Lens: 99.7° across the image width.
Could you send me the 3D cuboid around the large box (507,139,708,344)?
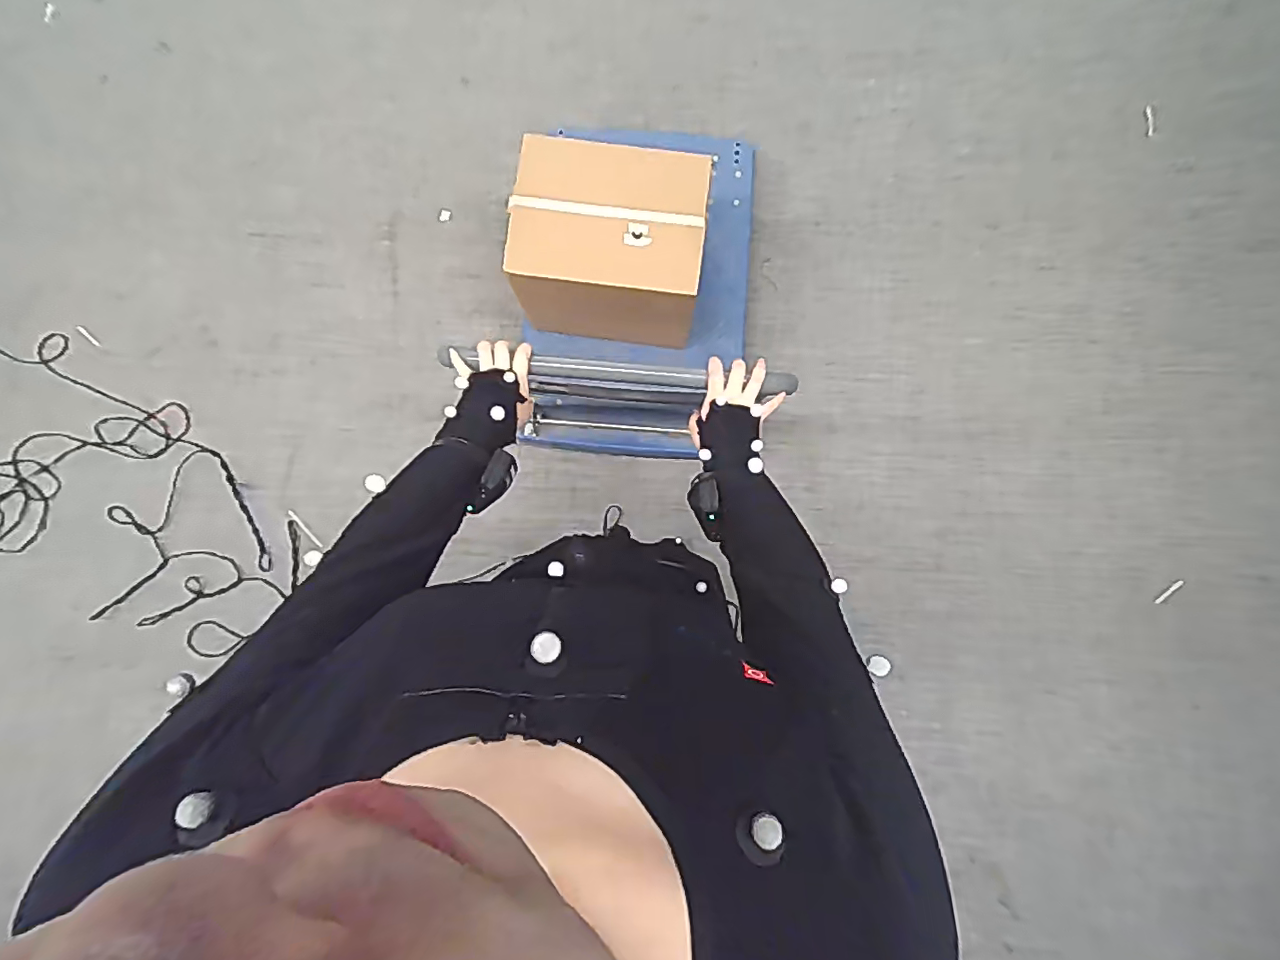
[{"bbox_3d":[-0.071,-0.542,1.287,0.408,0.320,0.320,7,84,-1],"label":"large box"}]
